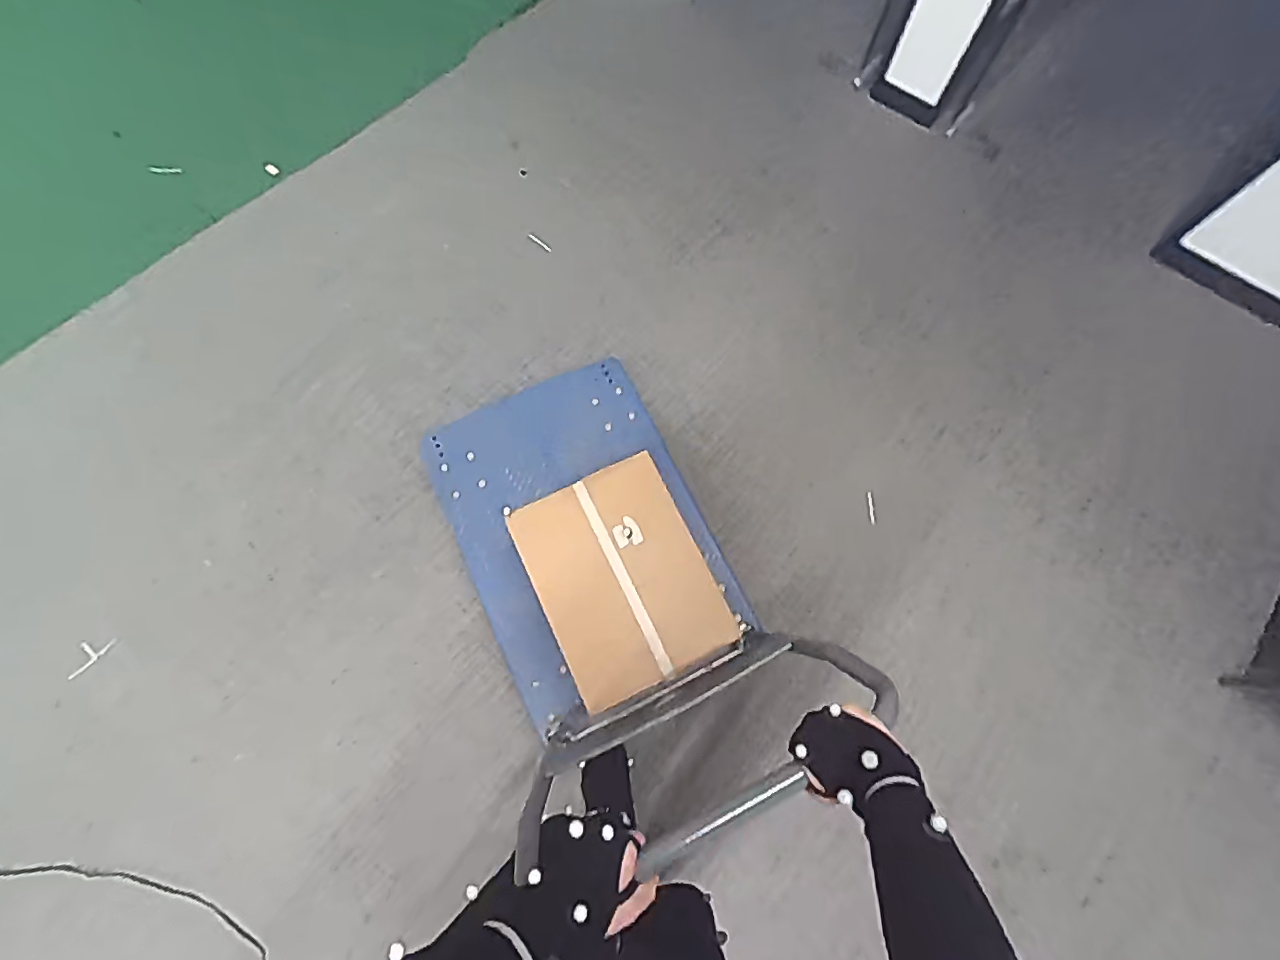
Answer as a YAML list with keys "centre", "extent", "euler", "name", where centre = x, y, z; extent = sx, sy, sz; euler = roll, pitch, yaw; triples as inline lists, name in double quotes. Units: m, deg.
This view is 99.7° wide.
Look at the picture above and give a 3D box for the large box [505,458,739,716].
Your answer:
- centre: [-0.042, 0.230, 1.167]
  extent: [0.320, 0.320, 0.408]
  euler: [-25, 76, -10]
  name: "large box"
